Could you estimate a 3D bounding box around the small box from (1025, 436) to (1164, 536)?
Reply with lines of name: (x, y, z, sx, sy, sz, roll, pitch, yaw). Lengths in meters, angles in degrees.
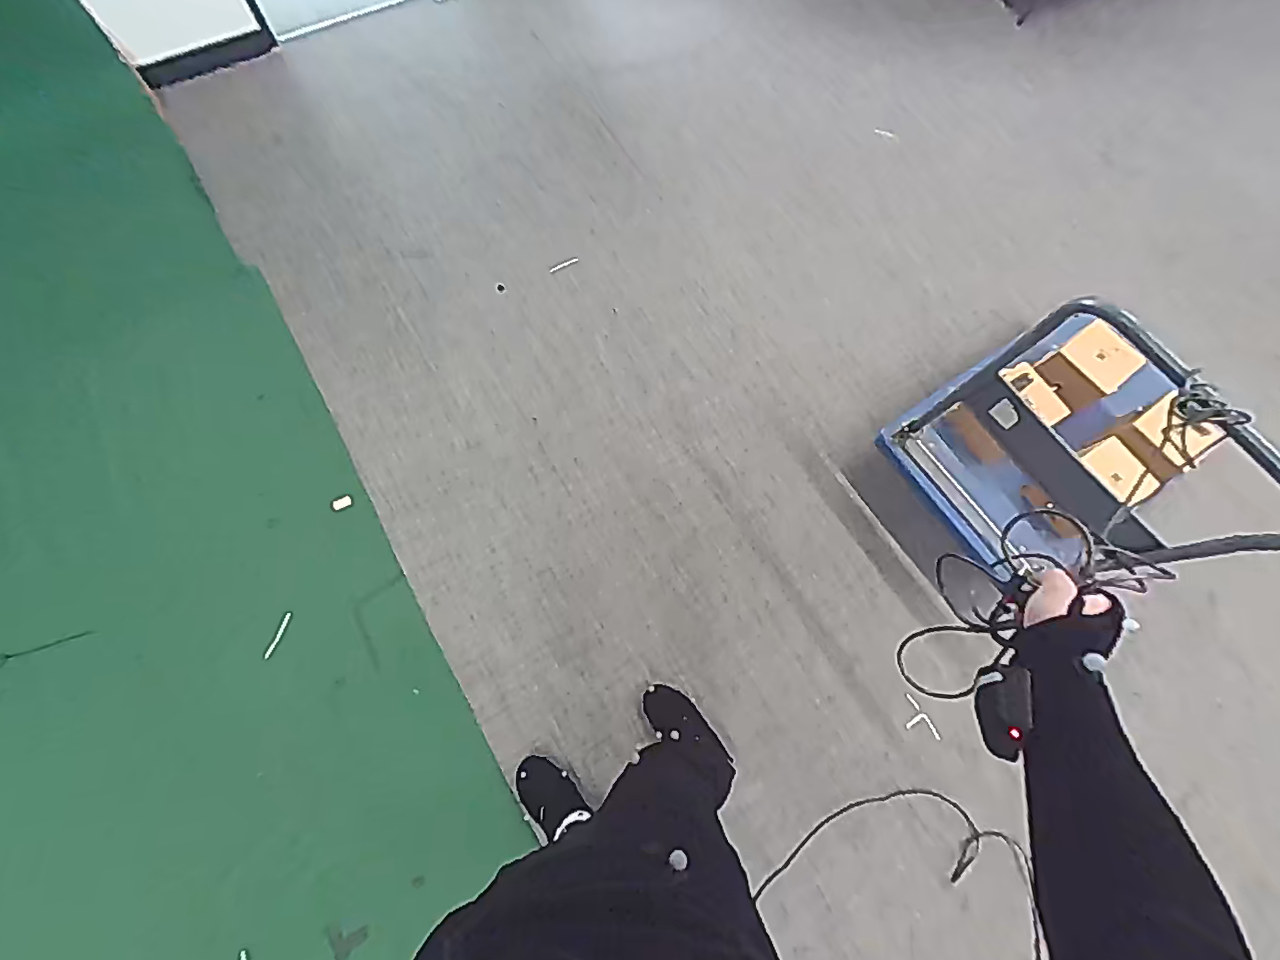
small box: (1.150, 0.020, 1.384, 0.179, 0.176, 0.168, -30, 75, -11)

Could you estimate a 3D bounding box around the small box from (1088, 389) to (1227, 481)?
small box: (1.358, -0.102, 1.433, 0.179, 0.176, 0.168, -34, 75, -12)

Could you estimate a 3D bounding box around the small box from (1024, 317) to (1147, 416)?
small box: (1.214, -0.306, 1.495, 0.179, 0.176, 0.168, -35, 77, -13)
